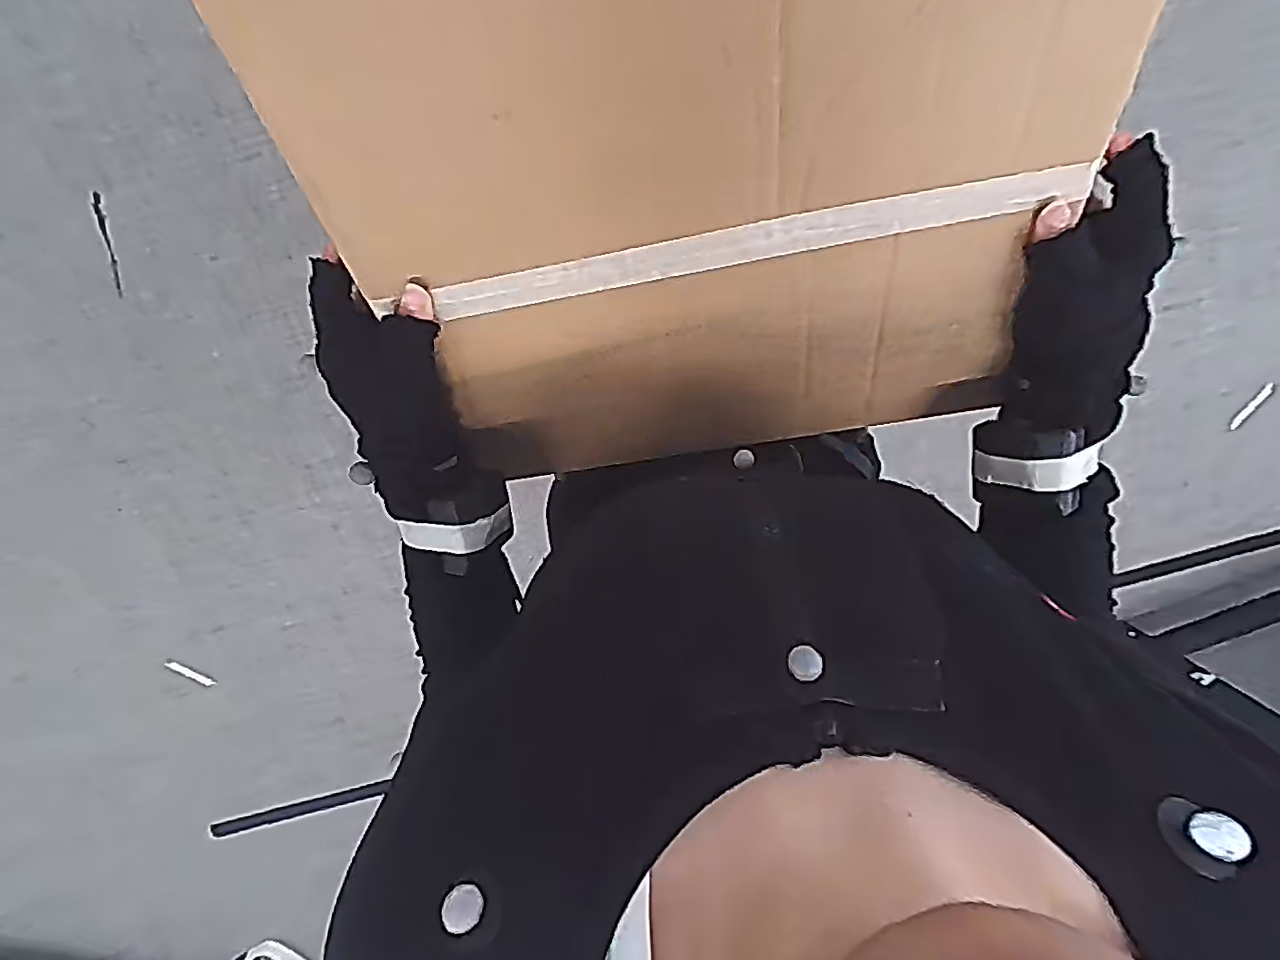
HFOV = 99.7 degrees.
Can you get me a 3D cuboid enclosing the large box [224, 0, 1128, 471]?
[{"bbox_3d":[0.030,-0.247,0.420,0.408,0.320,0.320,-9,137,5],"label":"large box"}]
